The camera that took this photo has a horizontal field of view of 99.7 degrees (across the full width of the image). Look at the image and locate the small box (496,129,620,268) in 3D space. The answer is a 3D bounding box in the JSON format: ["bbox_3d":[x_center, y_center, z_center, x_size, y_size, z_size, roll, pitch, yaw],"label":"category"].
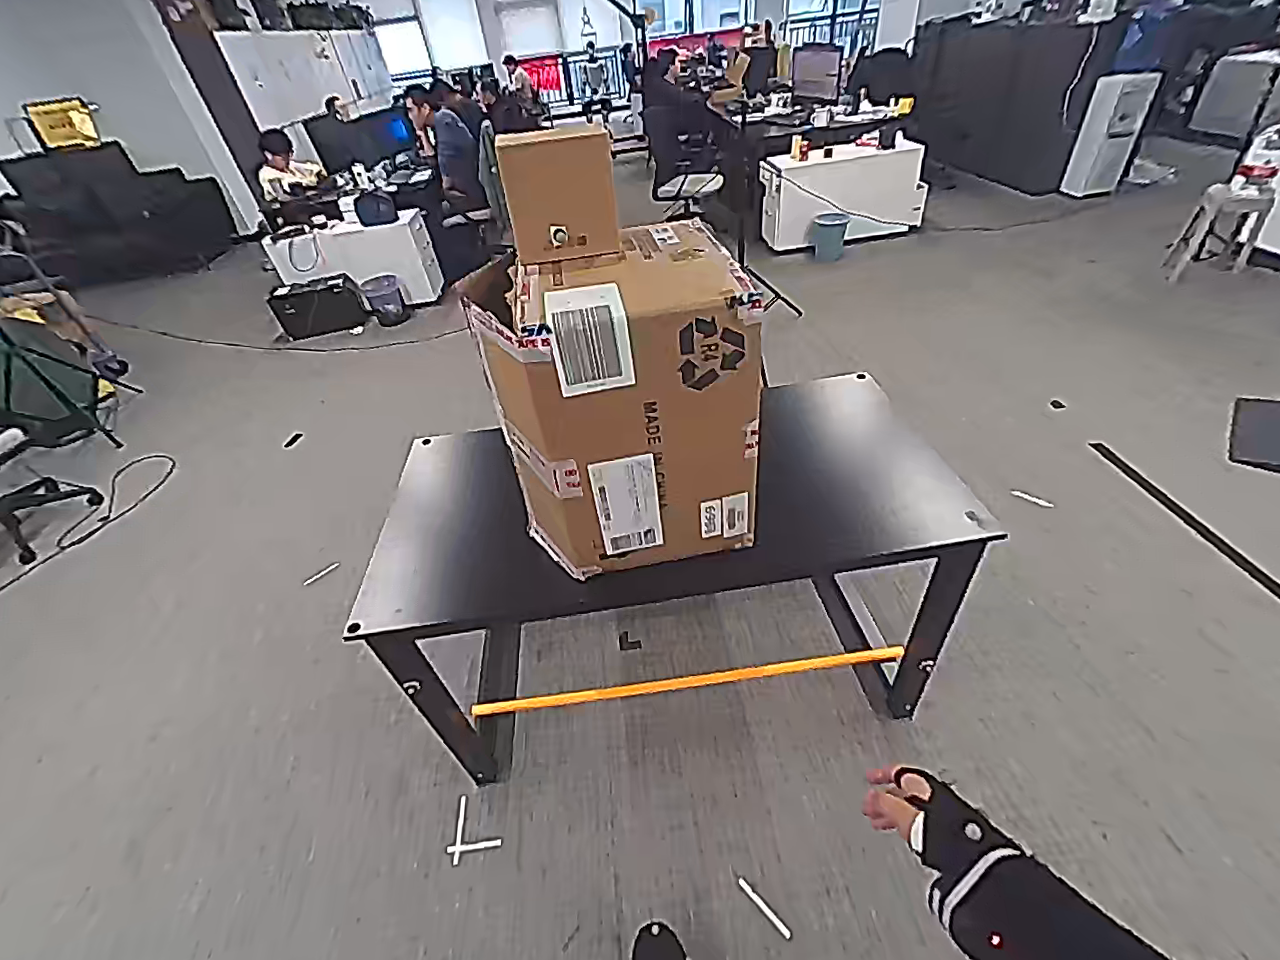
[{"bbox_3d":[-0.133,-0.461,0.886,0.168,0.176,0.179,-12,39,-6],"label":"small box"}]
